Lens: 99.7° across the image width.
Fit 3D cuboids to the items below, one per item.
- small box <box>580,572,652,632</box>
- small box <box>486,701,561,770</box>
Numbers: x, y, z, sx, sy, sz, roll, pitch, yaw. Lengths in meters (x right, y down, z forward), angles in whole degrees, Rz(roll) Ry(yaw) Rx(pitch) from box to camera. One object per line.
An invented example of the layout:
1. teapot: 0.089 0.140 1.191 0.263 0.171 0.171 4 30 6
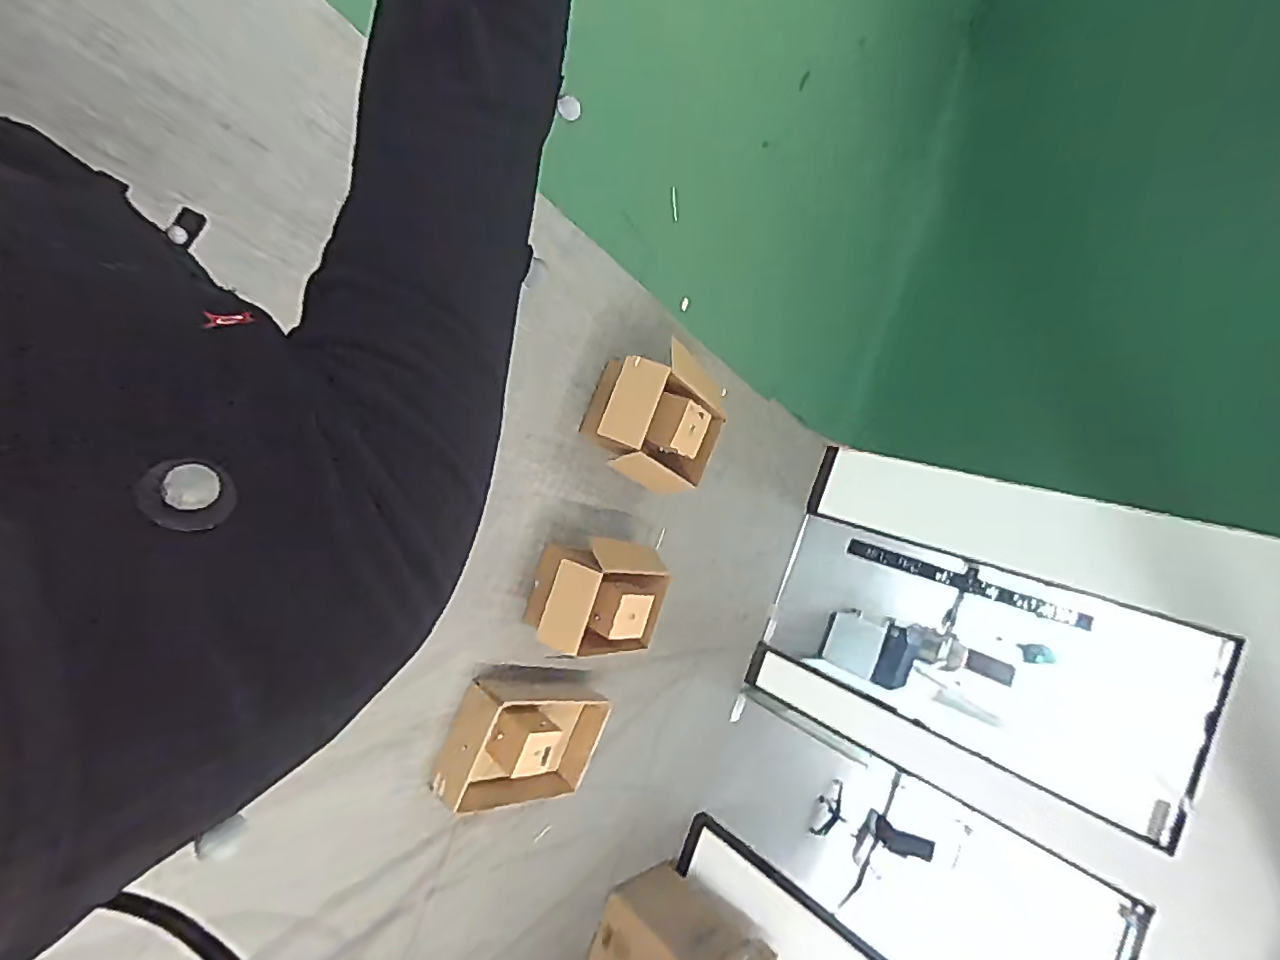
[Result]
1. small box: -0.091 0.442 1.974 0.179 0.176 0.168 15 94 -49
2. small box: -0.431 0.932 1.992 0.179 0.176 0.168 26 85 -51
